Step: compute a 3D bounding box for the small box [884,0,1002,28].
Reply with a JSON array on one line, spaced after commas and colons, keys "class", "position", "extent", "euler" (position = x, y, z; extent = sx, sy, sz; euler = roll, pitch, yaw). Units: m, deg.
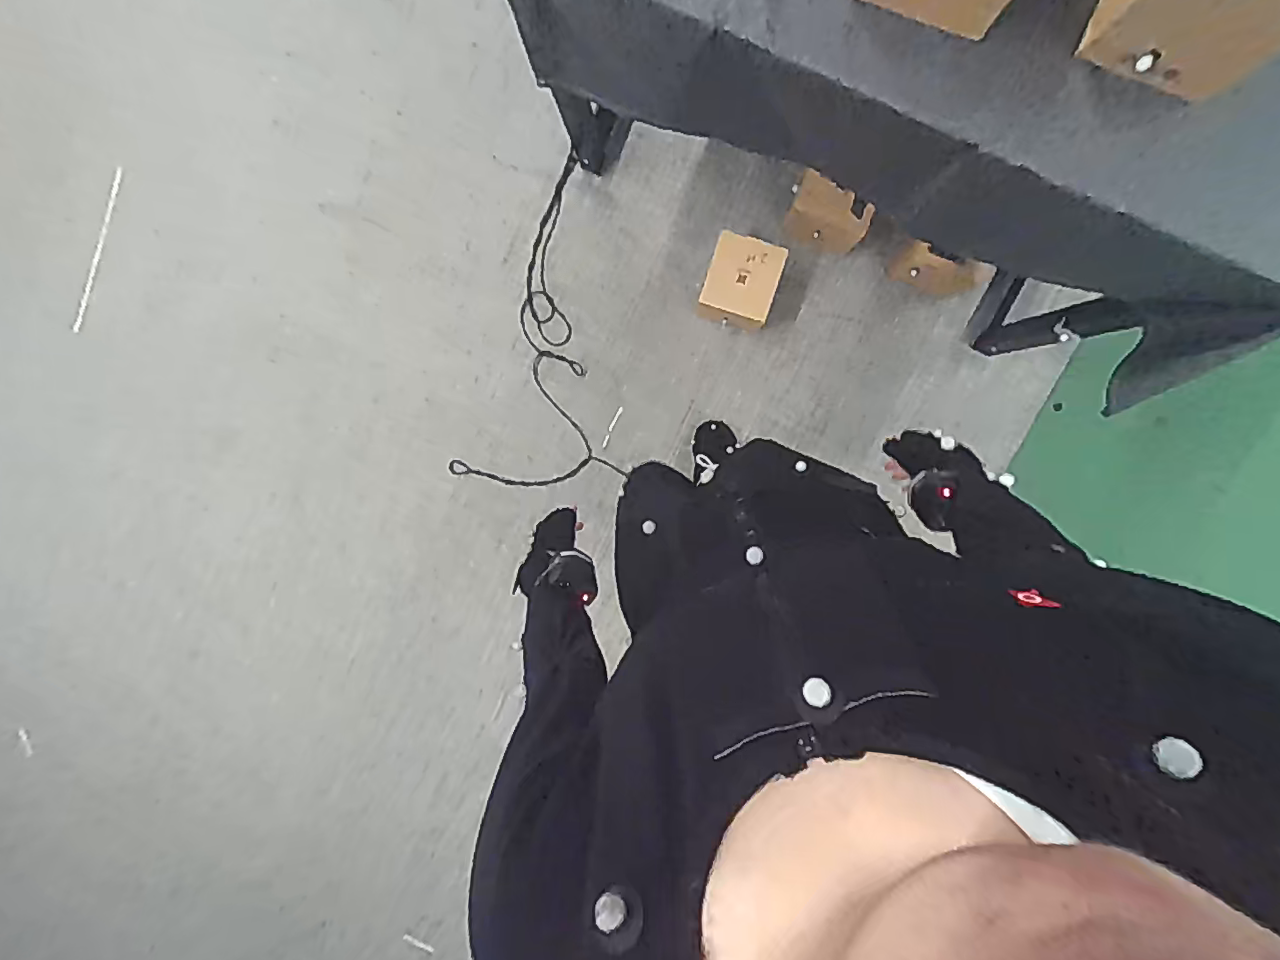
[{"class": "small box", "position": [0.356, -0.635, 0.570], "extent": [0.179, 0.176, 0.168], "euler": [20, 98, 0]}]

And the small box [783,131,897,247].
[{"class": "small box", "position": [0.466, -0.680, 1.288], "extent": [0.179, 0.176, 0.168], "euler": [23, 98, 2]}]

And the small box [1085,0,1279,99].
[{"class": "small box", "position": [0.627, -0.554, 0.562], "extent": [0.168, 0.176, 0.179], "euler": [23, 98, 2]}]
